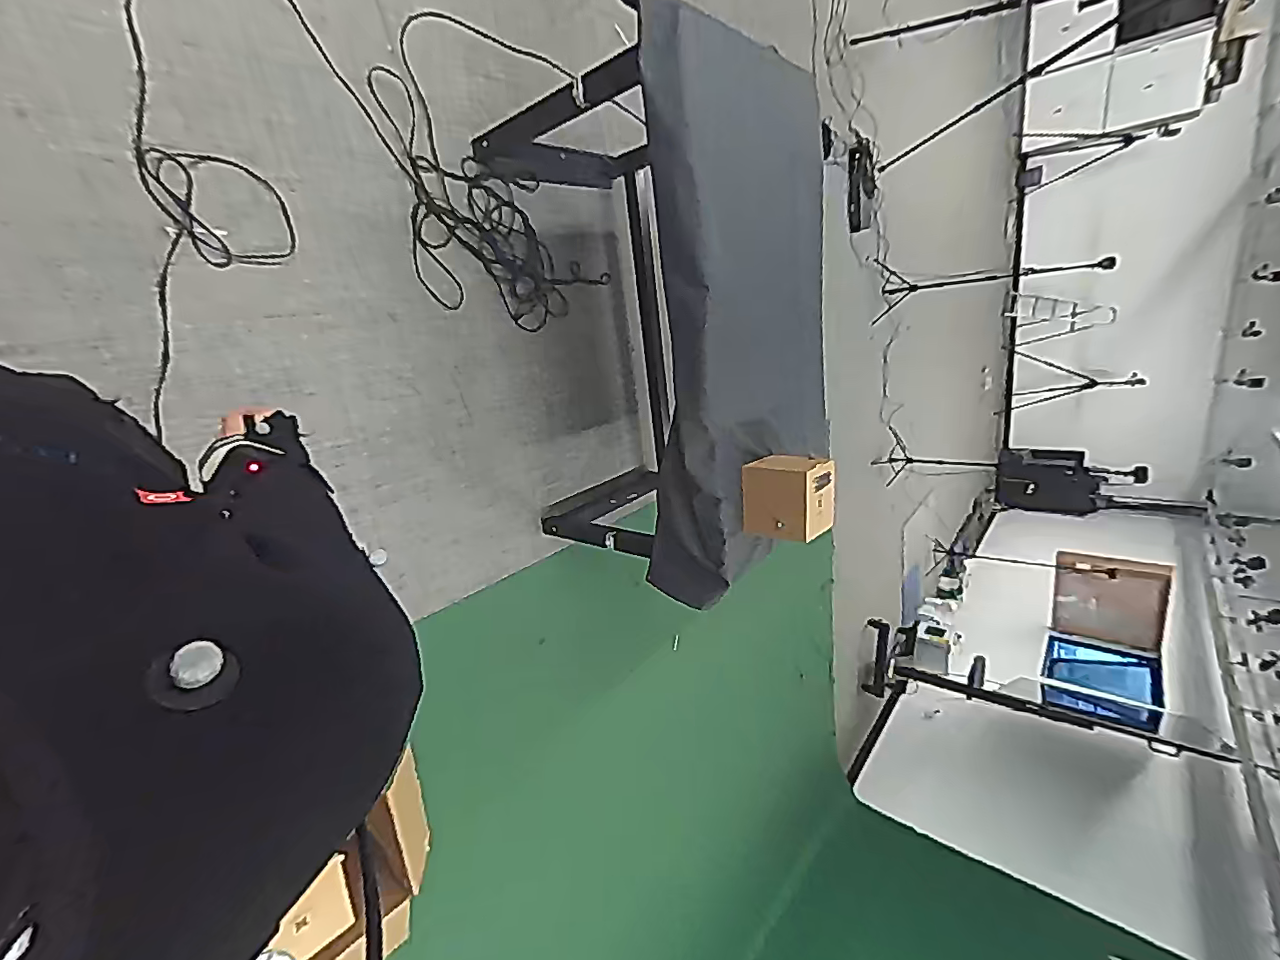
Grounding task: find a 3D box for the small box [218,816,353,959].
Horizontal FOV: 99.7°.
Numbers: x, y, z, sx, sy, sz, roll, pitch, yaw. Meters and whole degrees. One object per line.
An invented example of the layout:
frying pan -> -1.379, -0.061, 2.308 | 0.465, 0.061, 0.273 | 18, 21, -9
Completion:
small box -> -0.693, 0.815, 1.060 | 0.168, 0.176, 0.179 | -19, 110, -46
